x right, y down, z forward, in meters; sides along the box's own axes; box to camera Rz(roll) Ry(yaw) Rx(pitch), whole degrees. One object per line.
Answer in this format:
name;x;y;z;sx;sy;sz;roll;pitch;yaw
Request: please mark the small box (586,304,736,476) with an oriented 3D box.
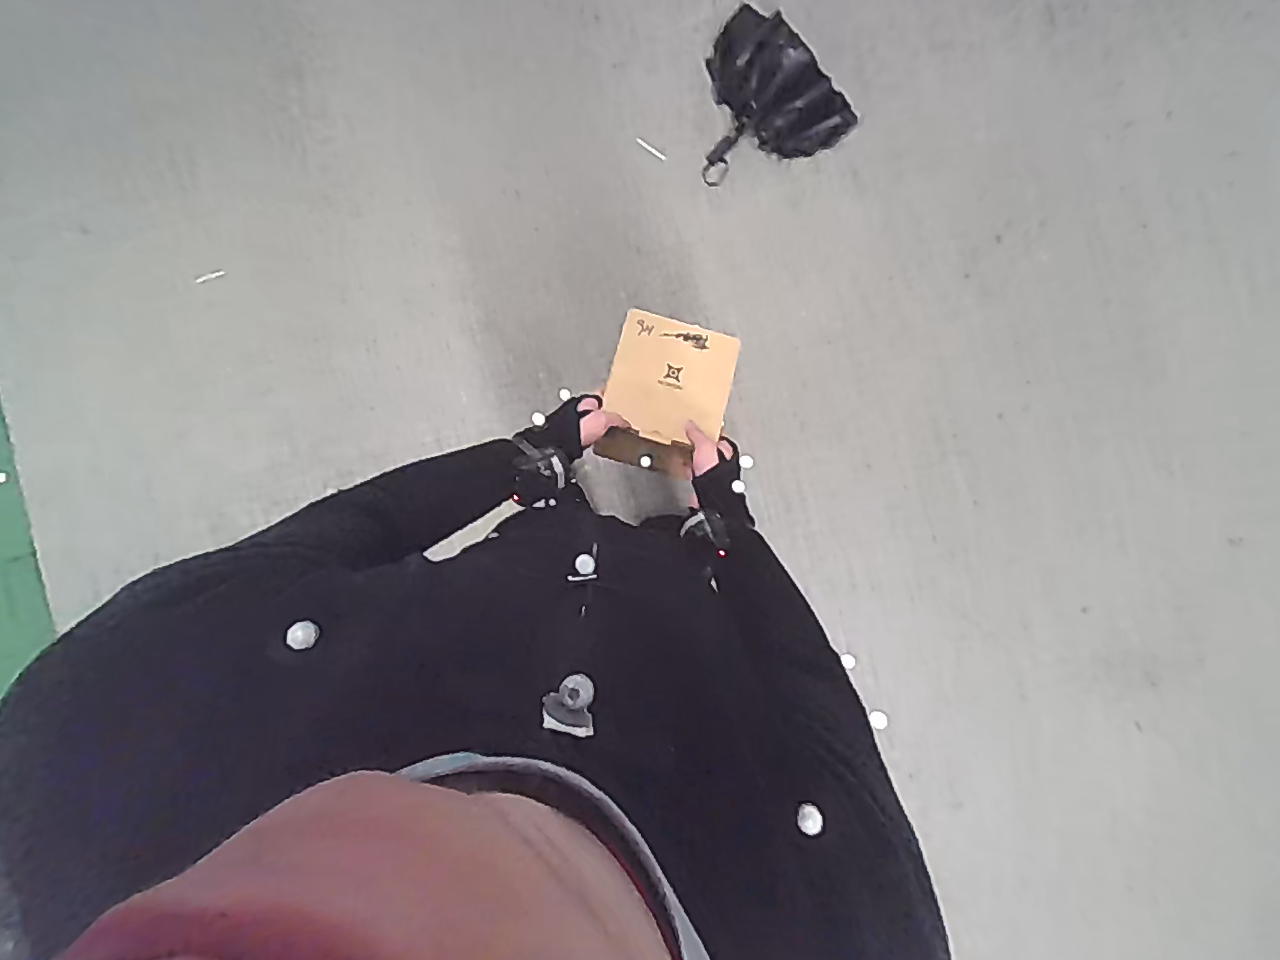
small box;0.024;-0.118;0.791;0.168;0.176;0.179;16;76;-3
